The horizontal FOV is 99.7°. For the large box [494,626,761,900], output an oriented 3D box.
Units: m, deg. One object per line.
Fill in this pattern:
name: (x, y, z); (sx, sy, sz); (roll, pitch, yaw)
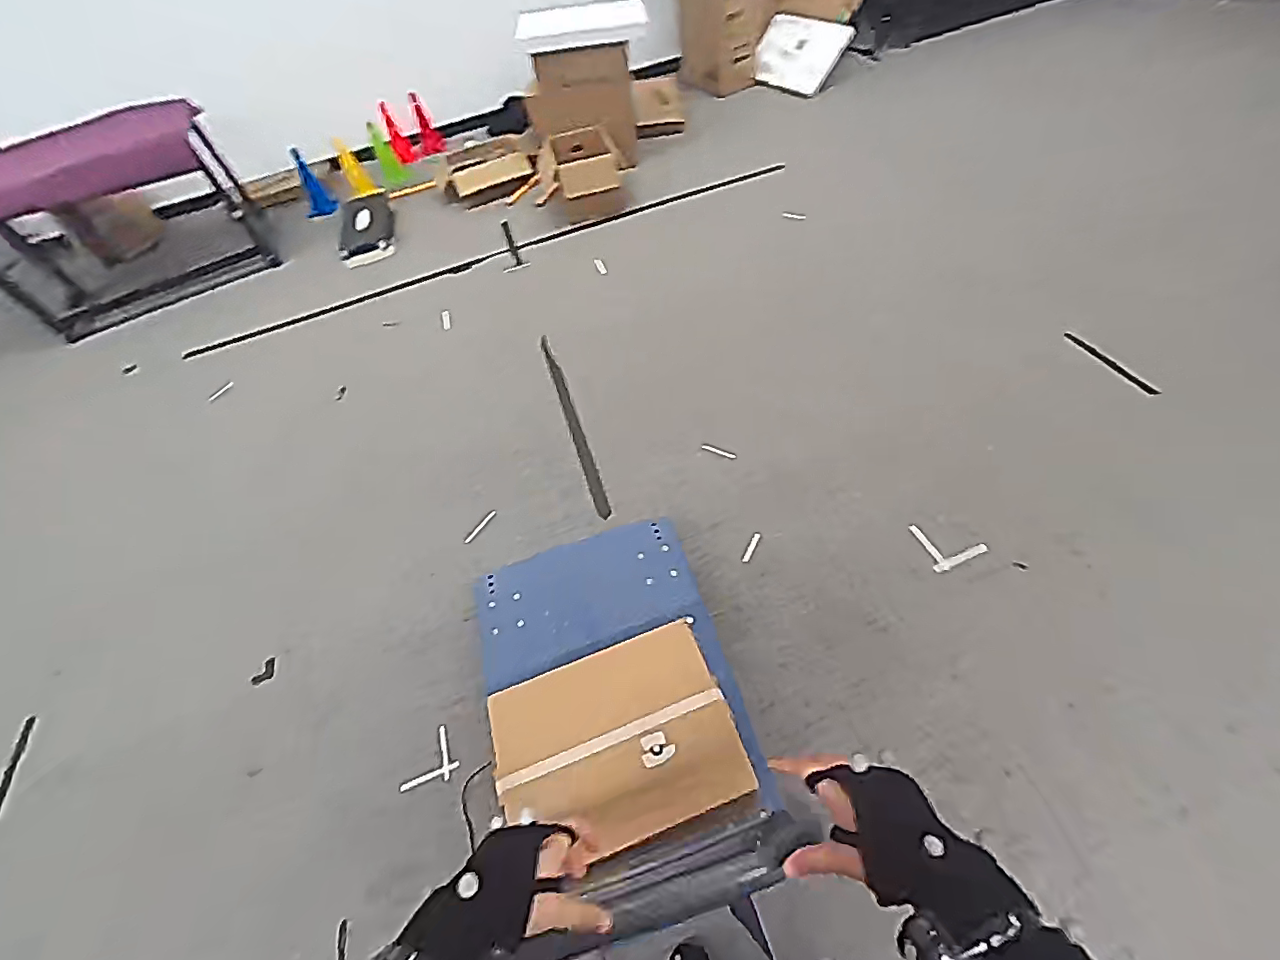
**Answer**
large box: (-0.020, 0.551, 1.051); (0.408, 0.320, 0.320); (-20, 53, -7)
